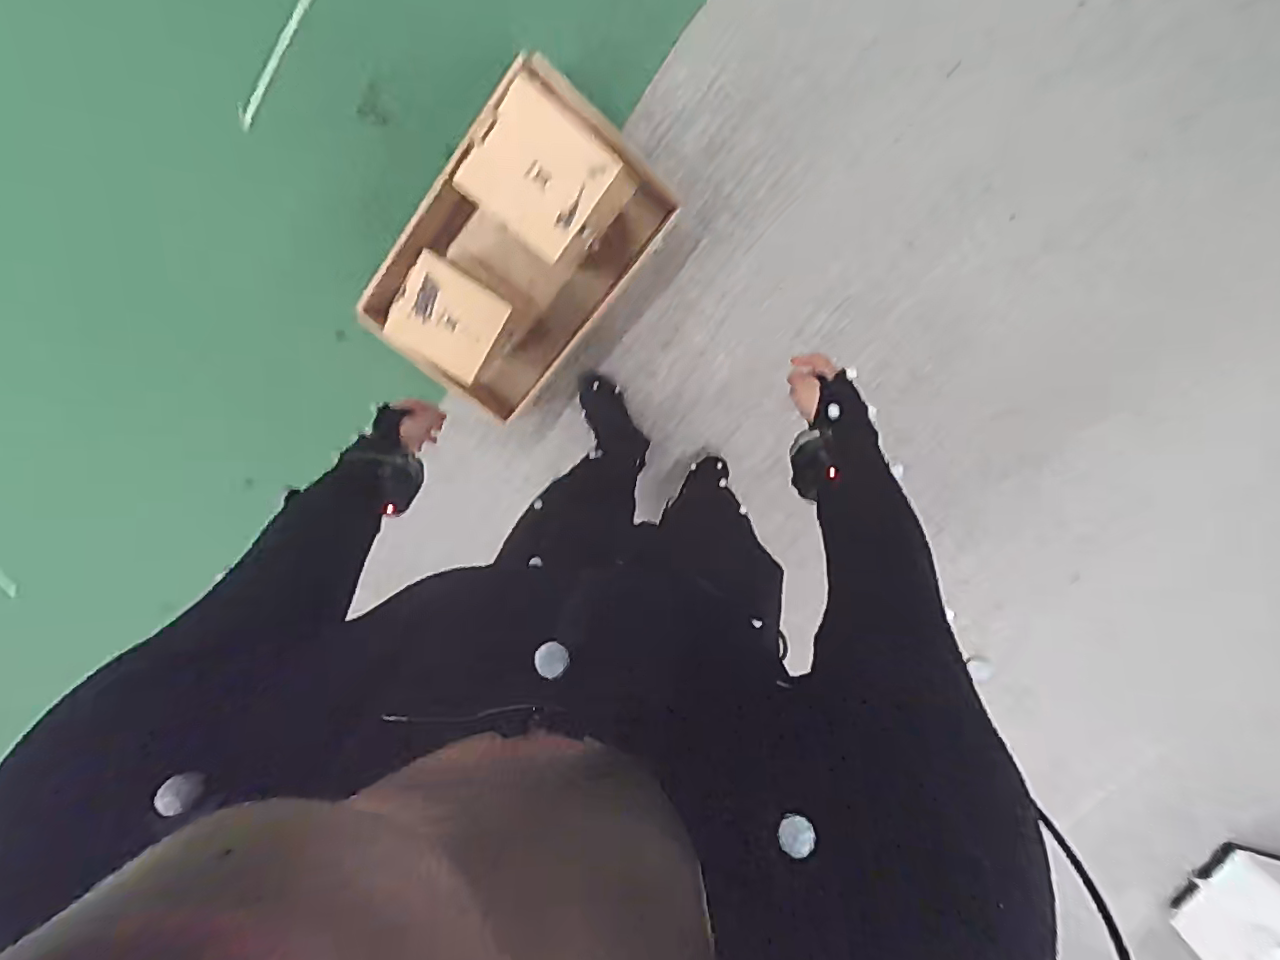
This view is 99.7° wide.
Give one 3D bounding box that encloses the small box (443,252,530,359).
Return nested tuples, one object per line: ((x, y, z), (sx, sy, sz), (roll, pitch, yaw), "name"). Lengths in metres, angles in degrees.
((-0.362, -0.366, 1.181), (0.179, 0.176, 0.168), (33, 103, -13), "small box")

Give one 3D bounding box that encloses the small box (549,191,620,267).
((-0.154, -0.502, 0.971), (0.179, 0.176, 0.168), (39, 104, -15), "small box")

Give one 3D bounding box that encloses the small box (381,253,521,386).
((-0.349, -0.302, 1.030), (0.179, 0.176, 0.168), (31, 104, -13), "small box")

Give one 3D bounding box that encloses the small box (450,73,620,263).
((-0.147, -0.447, 0.816), (0.179, 0.176, 0.168), (37, 105, -12), "small box")
